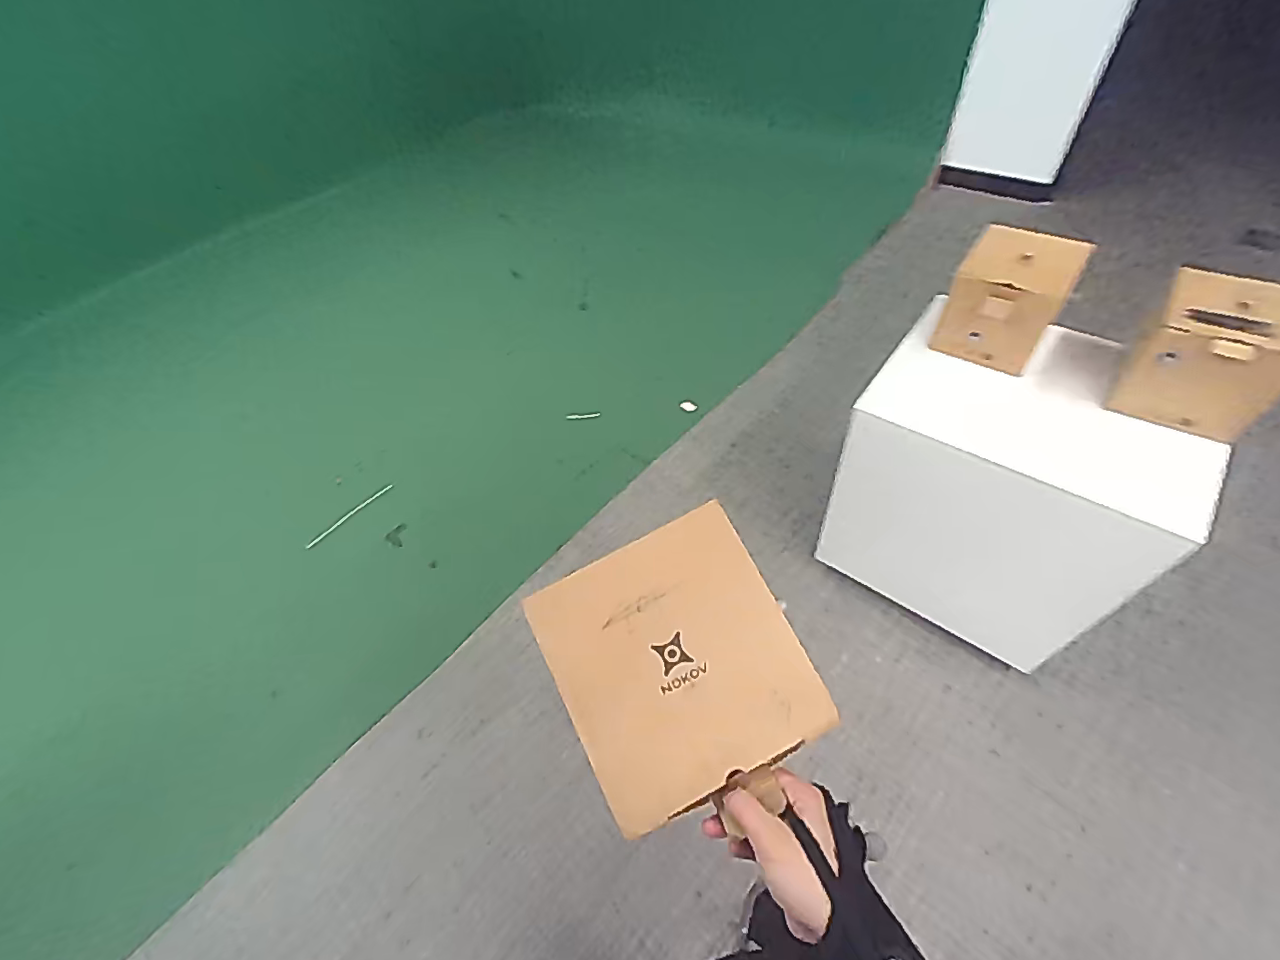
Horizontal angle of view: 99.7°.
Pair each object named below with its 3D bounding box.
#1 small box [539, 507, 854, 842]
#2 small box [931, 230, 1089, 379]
[{"bbox_3d":[0.041,0.148,0.453,0.168,0.176,0.179,-27,73,-4],"label":"small box"},{"bbox_3d":[0.661,-0.318,0.984,0.168,0.176,0.179,29,63,27],"label":"small box"}]
